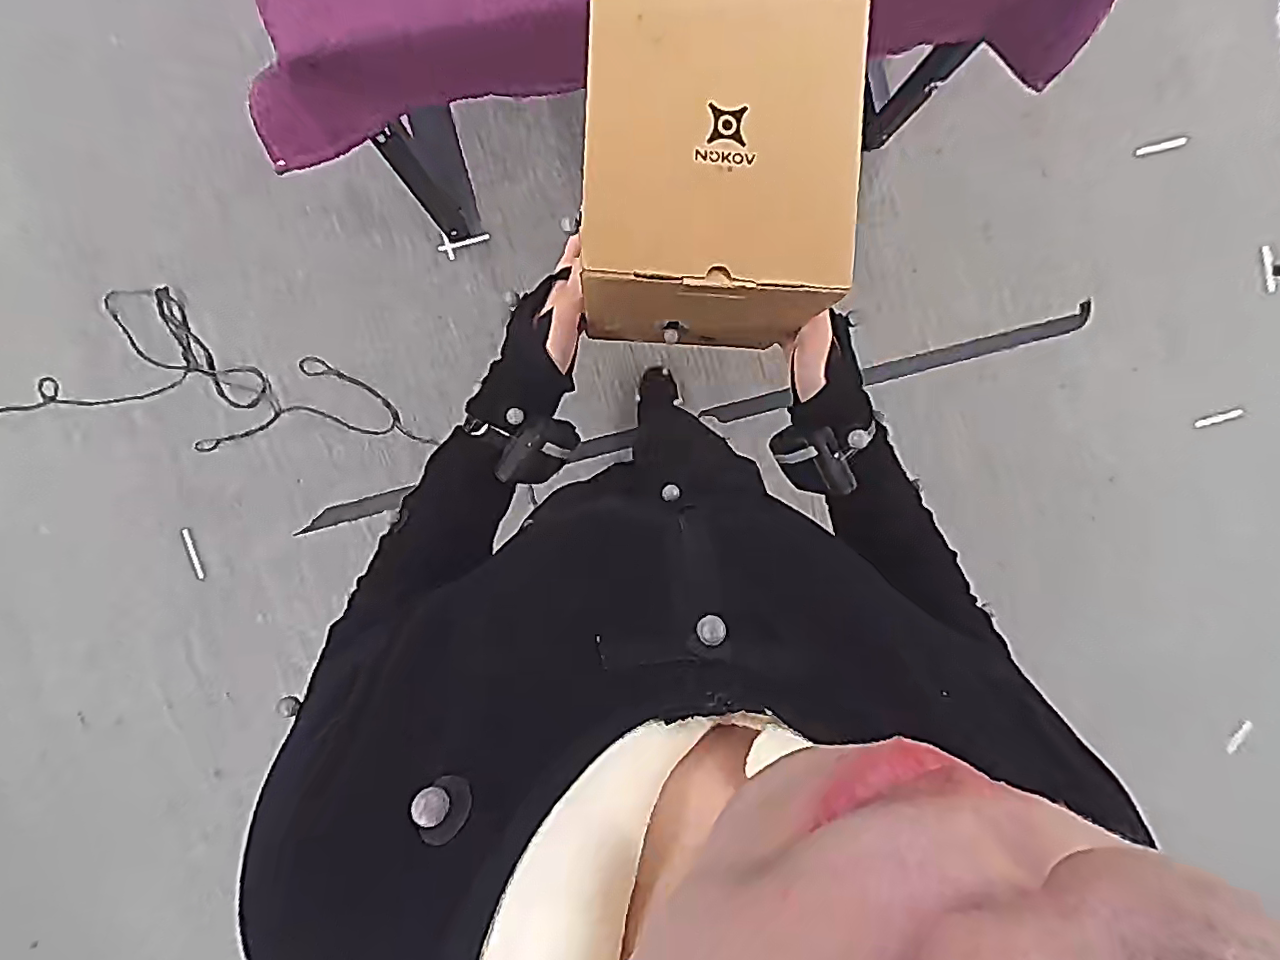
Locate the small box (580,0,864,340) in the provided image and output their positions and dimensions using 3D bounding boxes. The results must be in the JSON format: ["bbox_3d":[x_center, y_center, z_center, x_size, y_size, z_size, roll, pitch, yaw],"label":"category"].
[{"bbox_3d":[0.042,-0.211,0.396,0.168,0.176,0.179,2,94,-5],"label":"small box"}]
